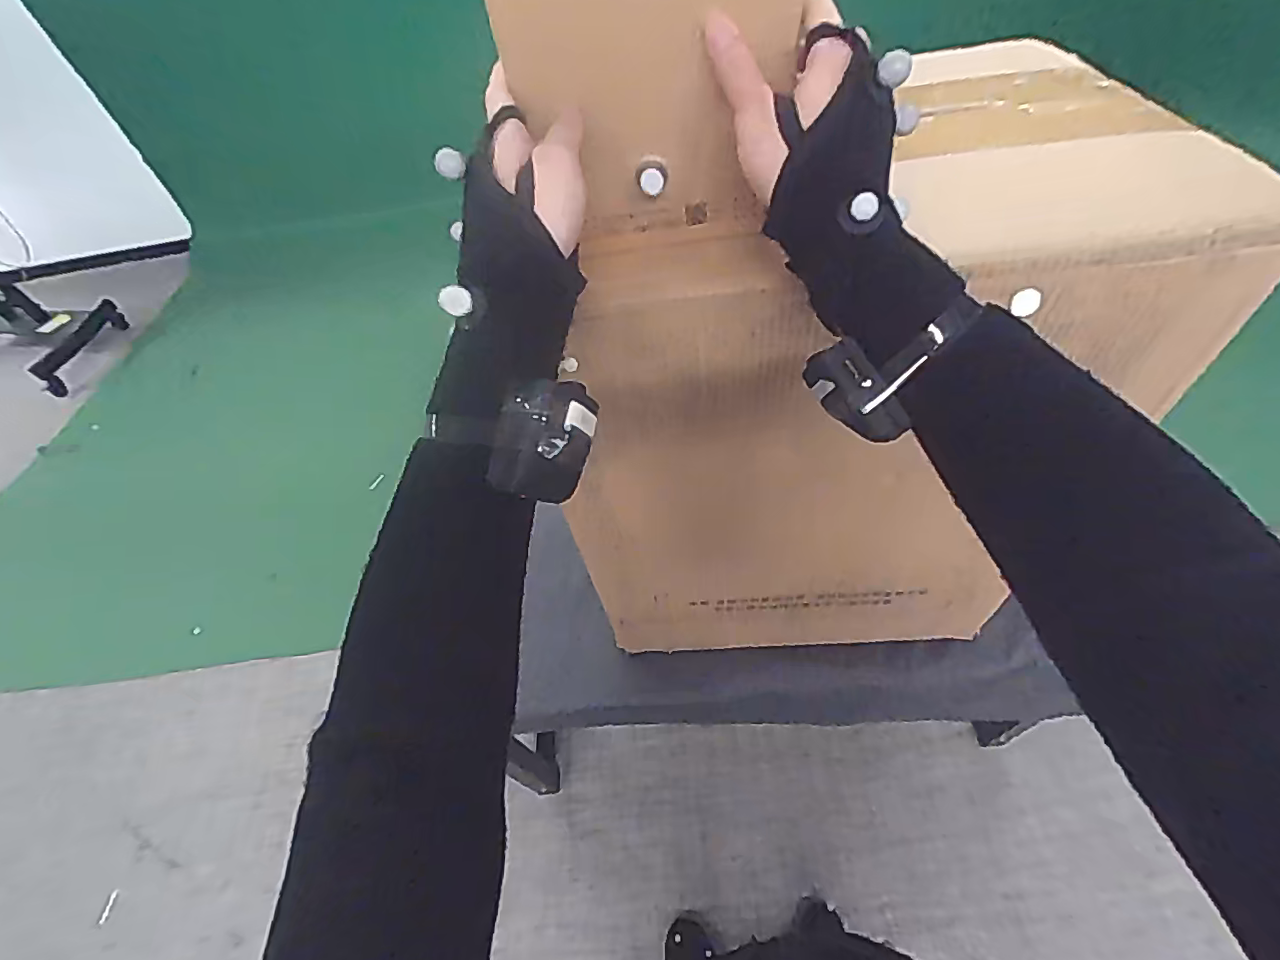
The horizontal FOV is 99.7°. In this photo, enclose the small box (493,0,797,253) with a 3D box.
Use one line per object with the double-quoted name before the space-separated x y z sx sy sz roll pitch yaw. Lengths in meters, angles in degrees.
"small box" 0.008 -0.288 0.381 0.168 0.176 0.179 -5 54 6
